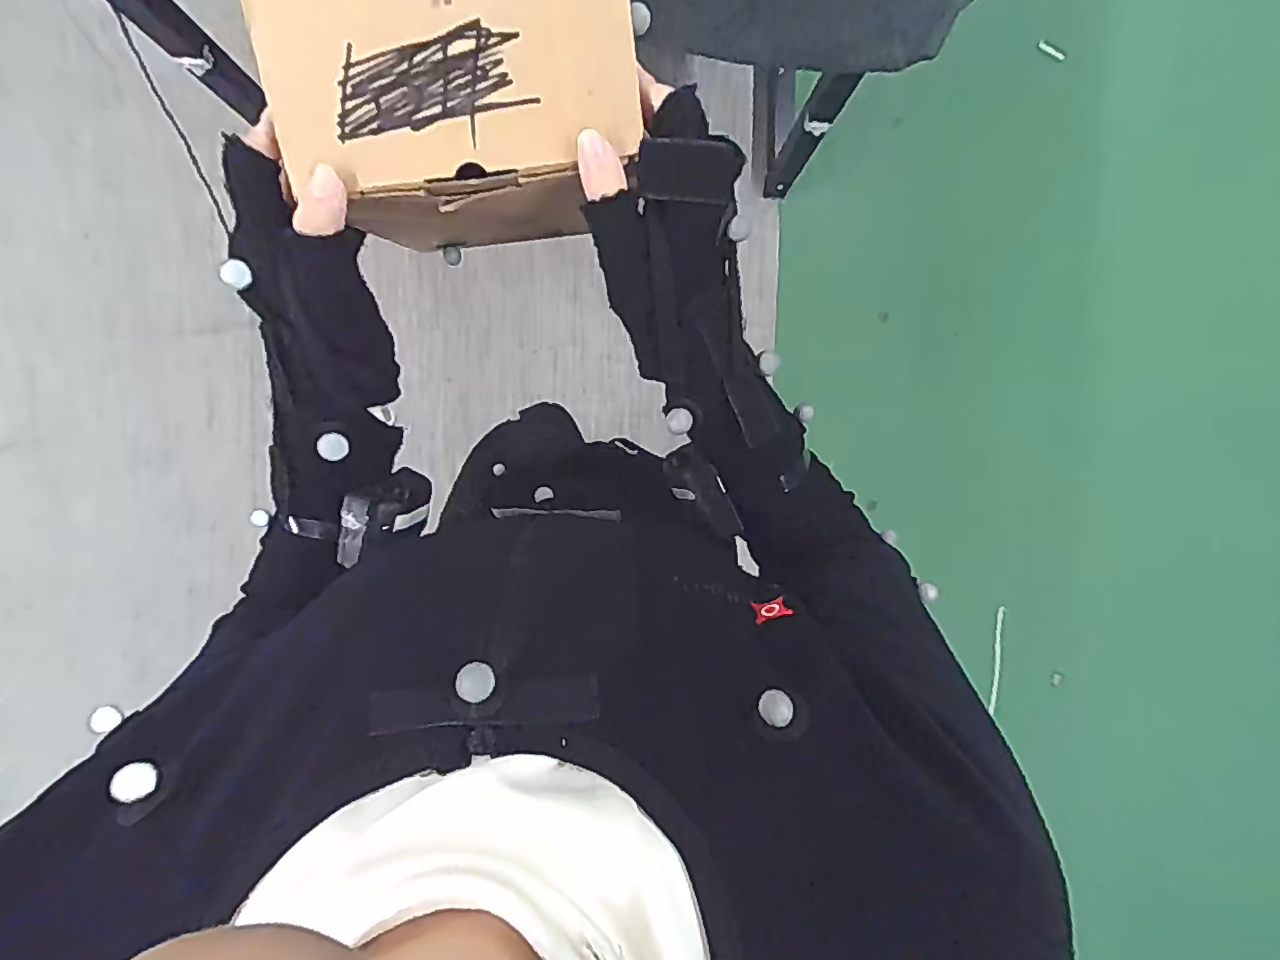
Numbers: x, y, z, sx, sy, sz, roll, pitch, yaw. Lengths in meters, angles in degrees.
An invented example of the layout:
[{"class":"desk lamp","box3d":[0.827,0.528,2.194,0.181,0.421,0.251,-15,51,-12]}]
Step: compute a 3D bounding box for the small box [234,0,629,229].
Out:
[{"class":"small box","box3d":[-0.095,-0.250,0.304,0.168,0.176,0.179,-7,105,0]}]
